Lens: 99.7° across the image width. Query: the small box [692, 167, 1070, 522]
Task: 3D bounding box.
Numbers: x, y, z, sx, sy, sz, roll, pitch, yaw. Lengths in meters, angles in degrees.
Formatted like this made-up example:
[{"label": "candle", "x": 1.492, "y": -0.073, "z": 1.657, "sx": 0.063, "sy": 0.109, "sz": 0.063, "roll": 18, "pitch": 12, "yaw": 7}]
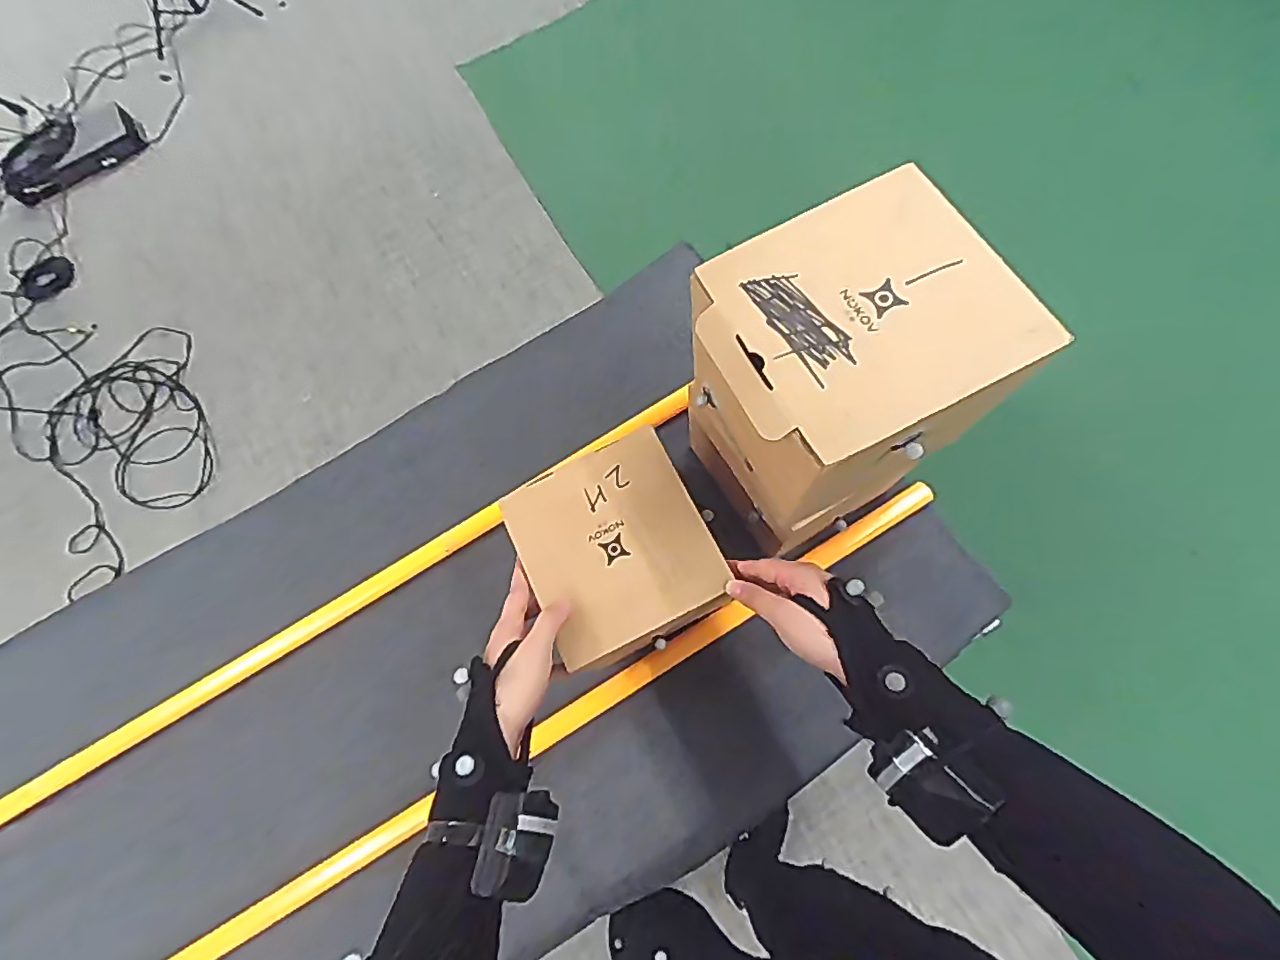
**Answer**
[{"label": "small box", "x": 0.155, "y": -0.086, "z": 0.418, "sx": 0.179, "sy": 0.176, "sz": 0.168, "roll": -27, "pitch": 72, "yaw": -3}]
